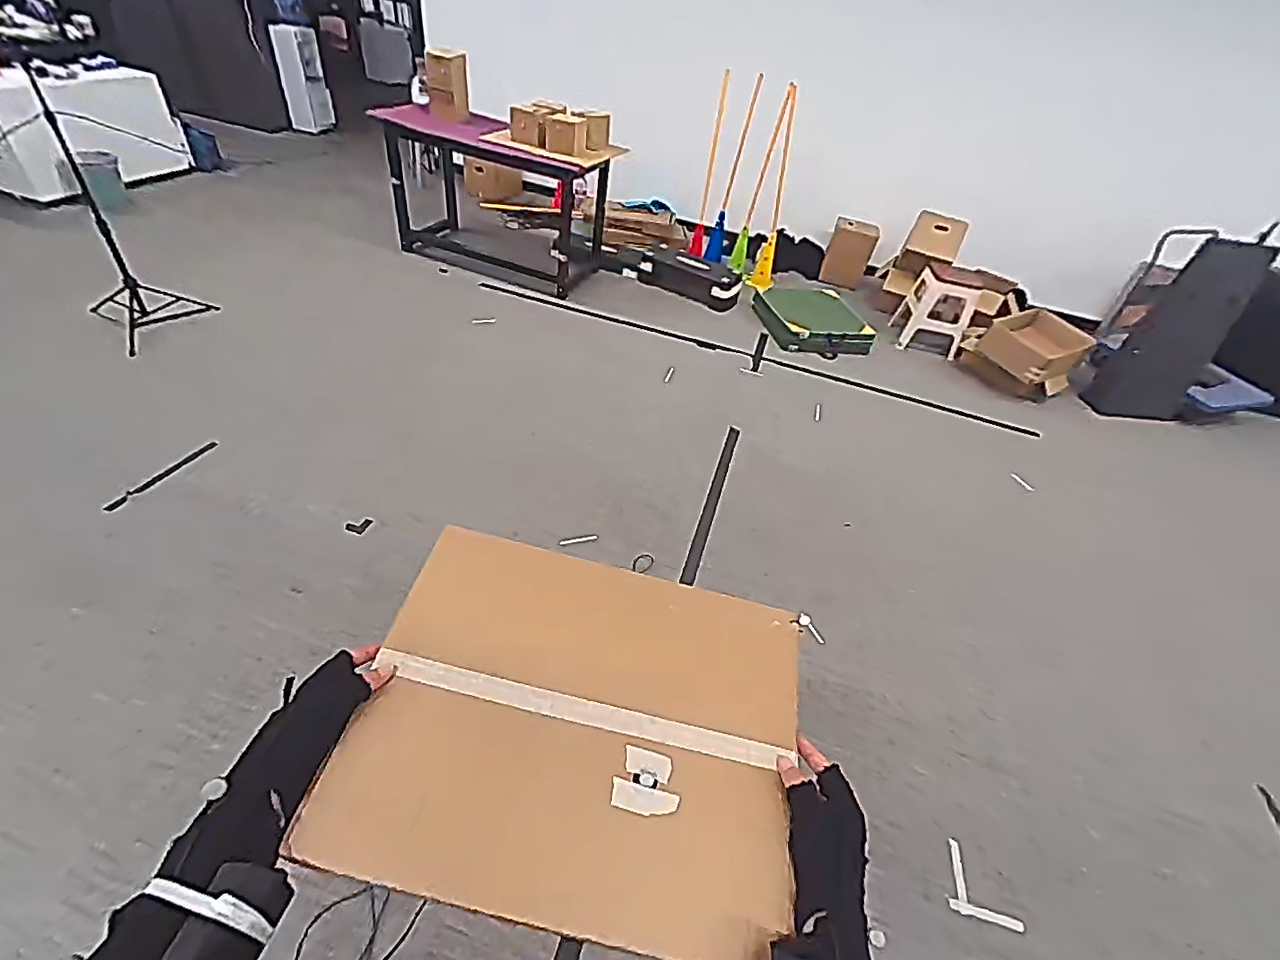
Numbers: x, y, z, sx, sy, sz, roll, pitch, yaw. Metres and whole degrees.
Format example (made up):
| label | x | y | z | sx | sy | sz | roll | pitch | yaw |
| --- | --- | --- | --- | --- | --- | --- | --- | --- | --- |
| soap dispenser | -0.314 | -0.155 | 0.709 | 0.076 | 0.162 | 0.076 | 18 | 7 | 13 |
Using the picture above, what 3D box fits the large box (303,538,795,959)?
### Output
| label | x | y | z | sx | sy | sz | roll | pitch | yaw |
| --- | --- | --- | --- | --- | --- | --- | --- | --- | --- |
| large box | -0.071 | 0.315 | 0.630 | 0.408 | 0.320 | 0.320 | 15 | 52 | 0 |
